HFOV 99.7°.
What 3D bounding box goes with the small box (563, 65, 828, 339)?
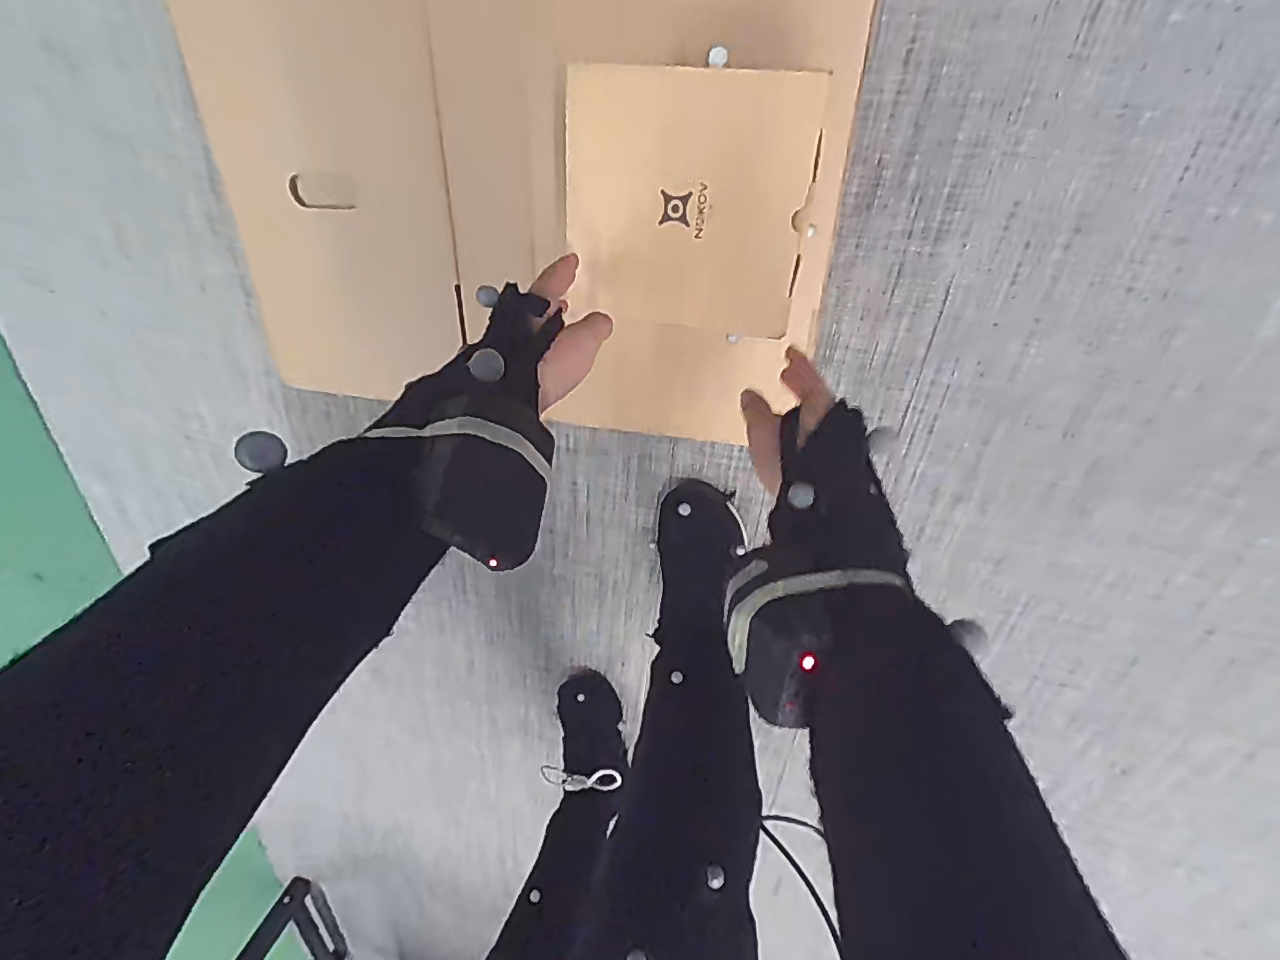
[{"bbox_3d":[0.046,-0.228,0.455,0.179,0.176,0.168,9,119,10],"label":"small box"}]
